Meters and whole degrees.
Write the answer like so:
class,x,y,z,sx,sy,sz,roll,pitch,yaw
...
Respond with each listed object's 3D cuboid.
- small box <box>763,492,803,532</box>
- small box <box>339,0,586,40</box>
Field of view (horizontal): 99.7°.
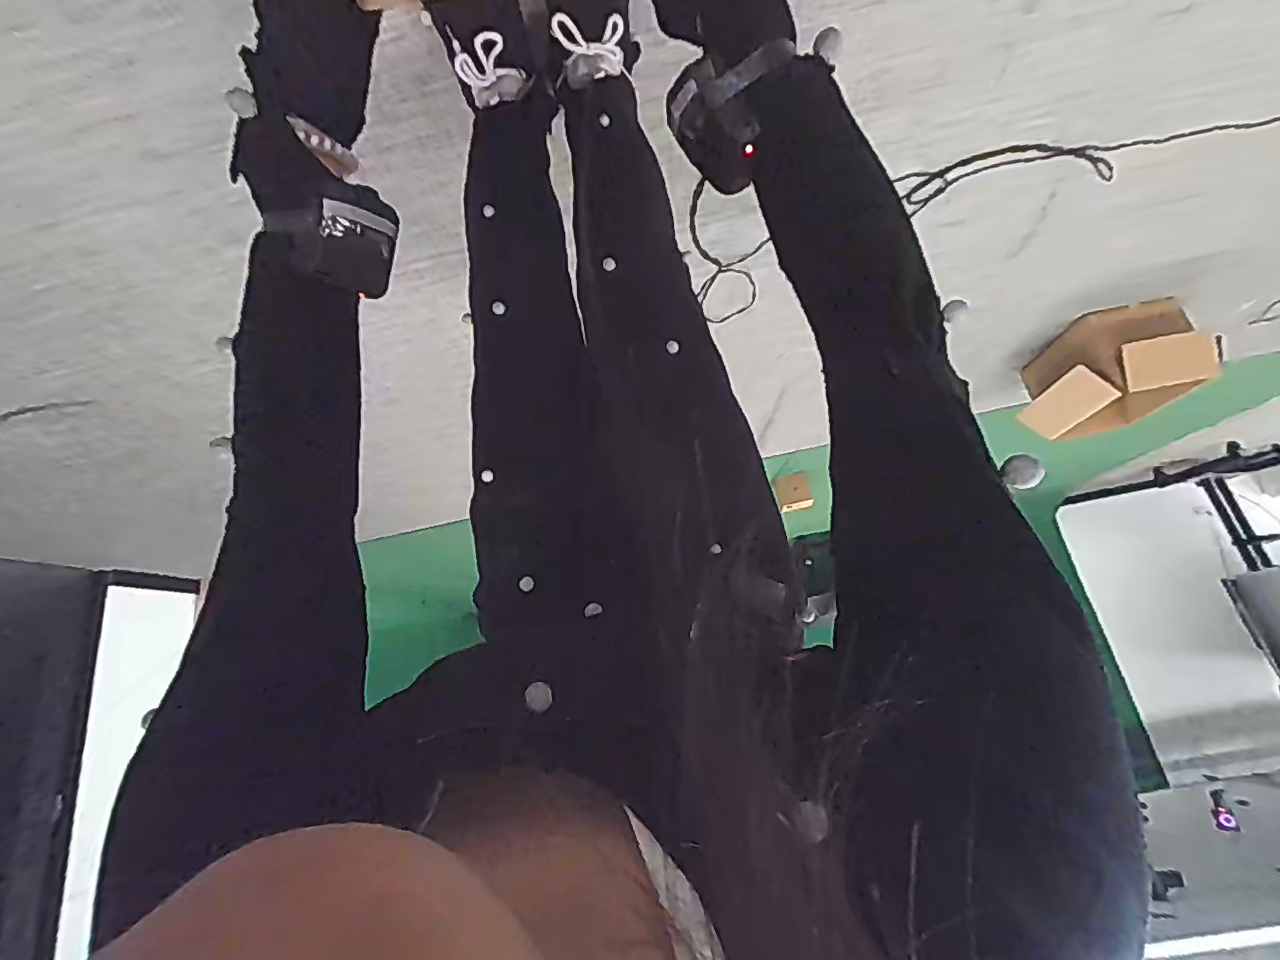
class,x,y,z,sx,sy,sz,roll,pitch,yaw
small box,0.810,0.182,3.075,0.179,0.176,0.168,-14,159,5
small box,-0.131,-0.420,0.323,0.168,0.176,0.179,-10,155,0
